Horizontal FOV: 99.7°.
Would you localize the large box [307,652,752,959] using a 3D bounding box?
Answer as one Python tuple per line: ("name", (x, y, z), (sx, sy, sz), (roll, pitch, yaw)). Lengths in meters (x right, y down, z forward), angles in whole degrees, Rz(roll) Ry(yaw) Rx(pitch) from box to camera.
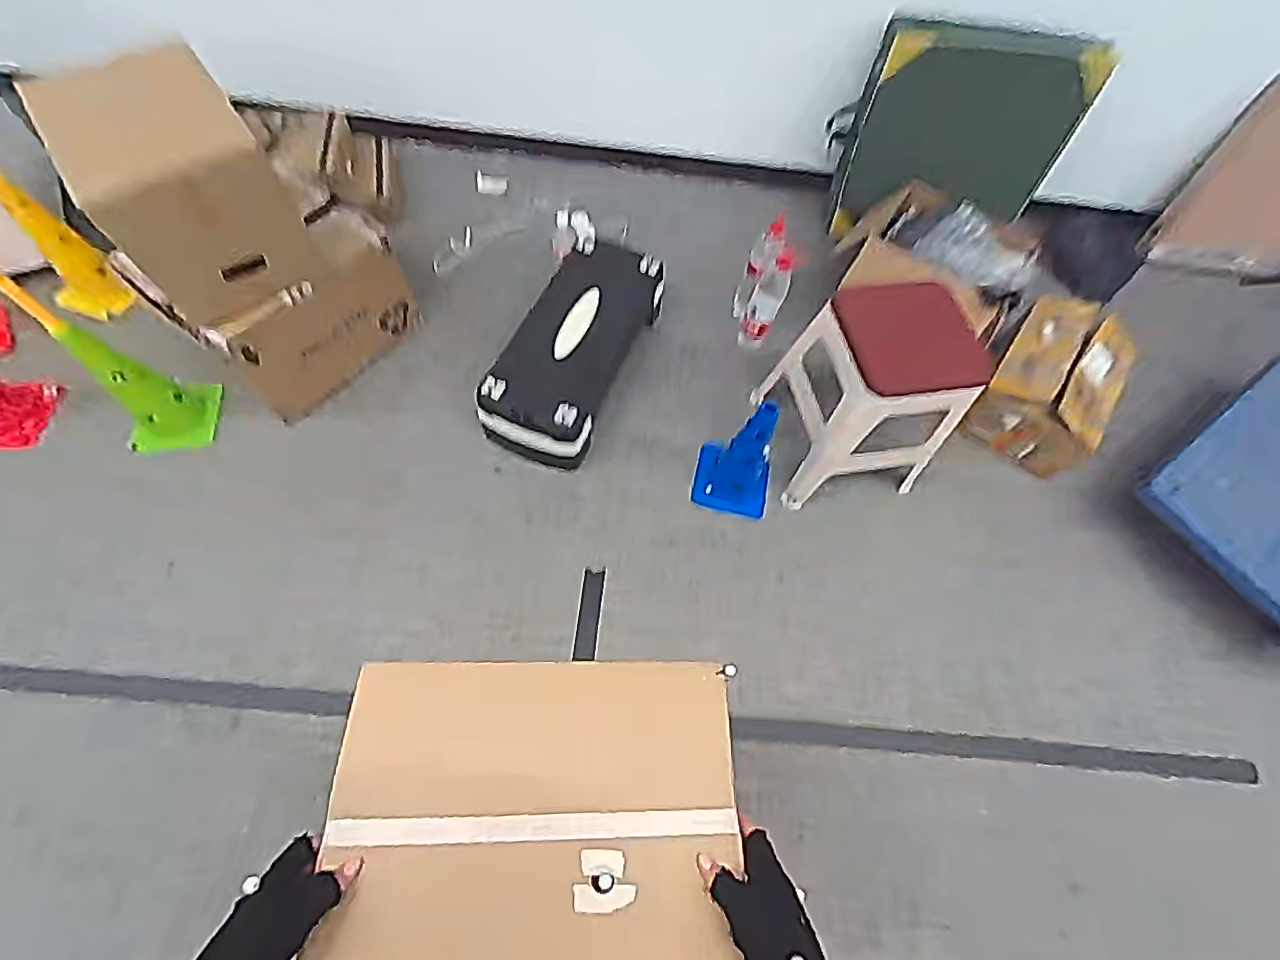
("large box", (-0.112, 0.406, 0.670), (0.408, 0.320, 0.320), (1, 61, -5))
